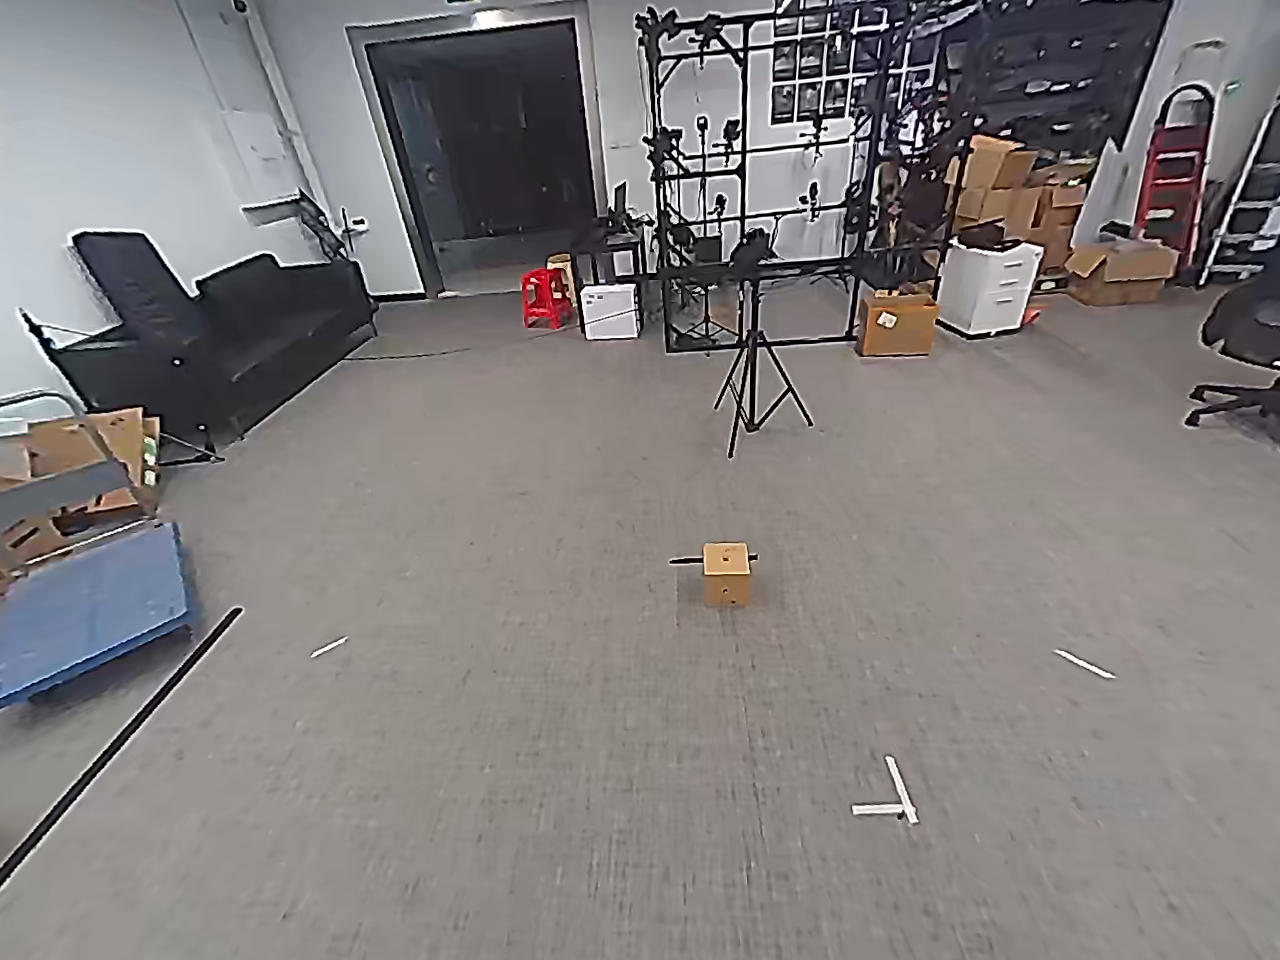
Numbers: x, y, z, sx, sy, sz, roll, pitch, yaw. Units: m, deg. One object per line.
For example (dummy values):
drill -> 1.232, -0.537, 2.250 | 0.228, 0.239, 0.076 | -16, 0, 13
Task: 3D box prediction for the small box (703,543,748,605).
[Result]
small box -> 0.327, 0.362, 2.068 | 0.168, 0.176, 0.179 | -1, 33, 7
